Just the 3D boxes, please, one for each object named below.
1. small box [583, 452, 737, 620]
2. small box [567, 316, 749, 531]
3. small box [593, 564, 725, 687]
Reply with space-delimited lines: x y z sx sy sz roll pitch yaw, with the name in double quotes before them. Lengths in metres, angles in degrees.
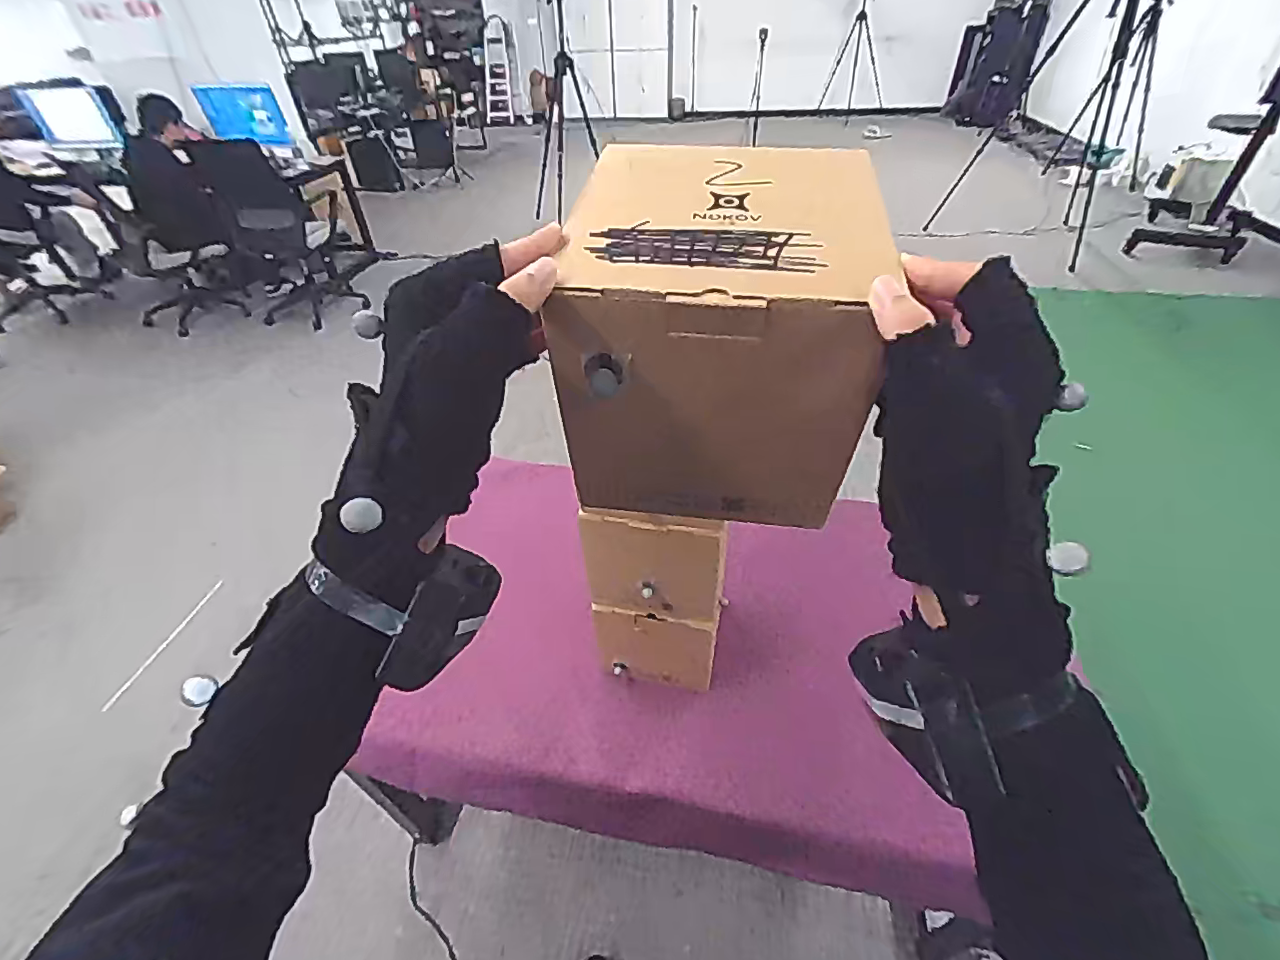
"small box" 0.033 0.057 0.722 0.168 0.176 0.179 7 42 12
"small box" 0.028 -0.069 0.618 0.168 0.176 0.179 6 42 11
"small box" 0.038 0.187 0.823 0.168 0.176 0.179 7 41 11
